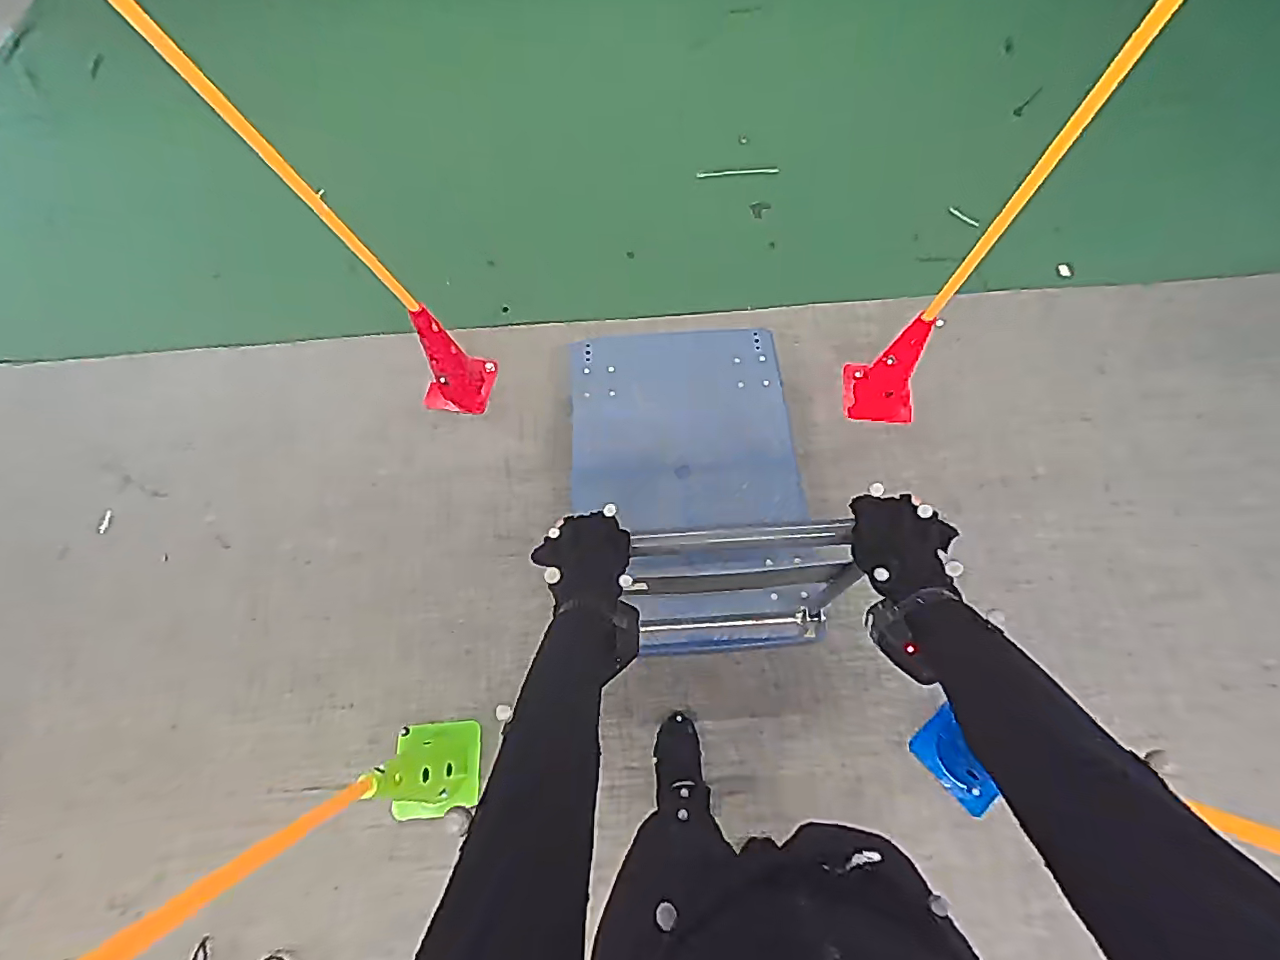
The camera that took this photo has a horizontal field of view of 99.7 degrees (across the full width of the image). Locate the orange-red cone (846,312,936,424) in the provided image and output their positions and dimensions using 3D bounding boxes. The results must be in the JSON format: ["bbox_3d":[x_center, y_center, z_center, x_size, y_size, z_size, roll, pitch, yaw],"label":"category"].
[{"bbox_3d":[0.717,-0.327,1.482,0.198,0.360,0.199,6,68,6],"label":"orange-red cone"}]
